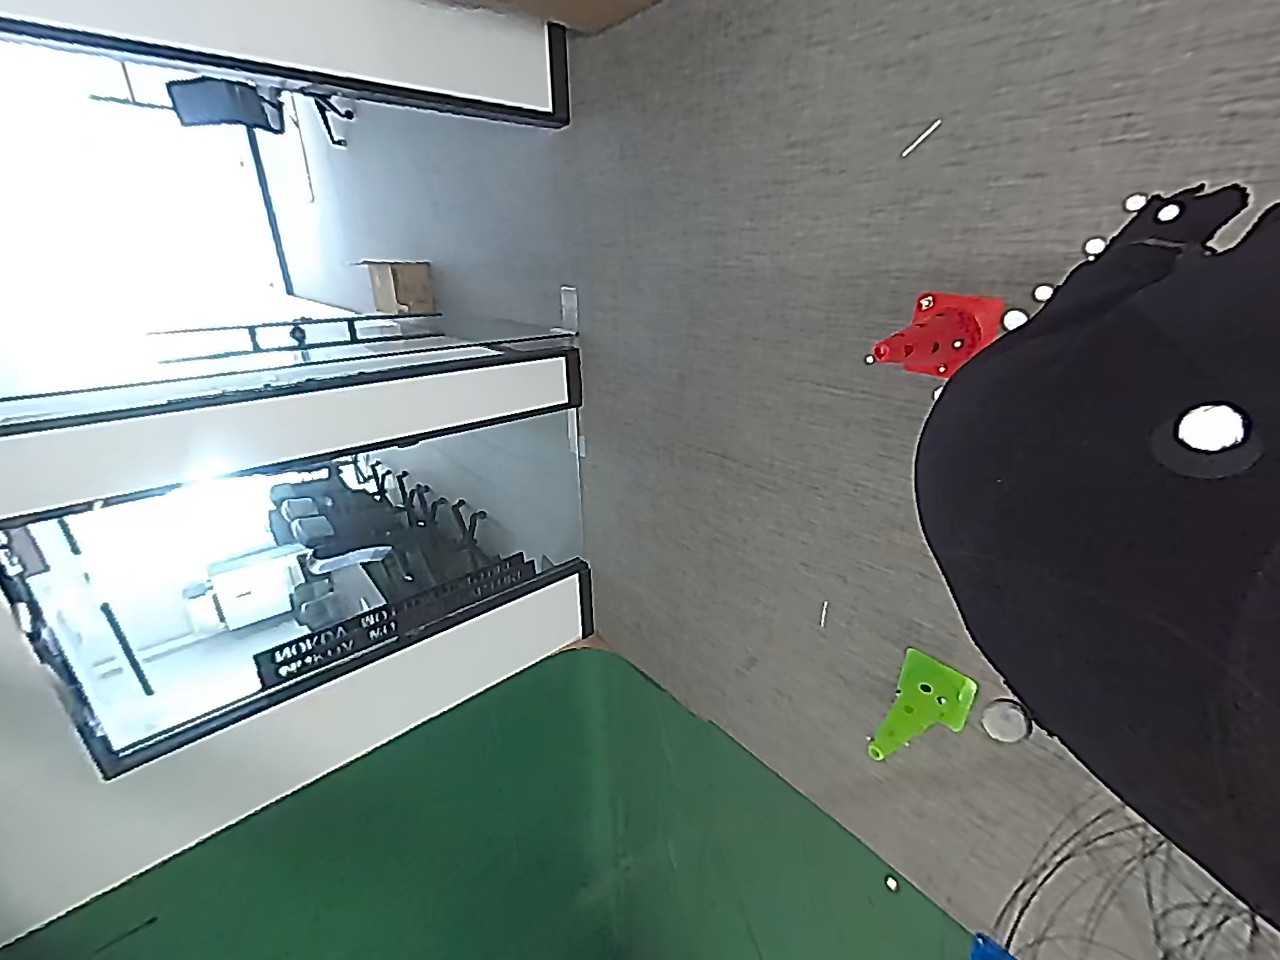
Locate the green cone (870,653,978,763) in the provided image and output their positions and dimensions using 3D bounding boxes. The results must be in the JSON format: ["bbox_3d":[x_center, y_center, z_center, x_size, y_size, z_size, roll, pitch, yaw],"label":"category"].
[{"bbox_3d":[0.760,0.685,1.521,0.200,0.368,0.202,24,122,45],"label":"green cone"}]
